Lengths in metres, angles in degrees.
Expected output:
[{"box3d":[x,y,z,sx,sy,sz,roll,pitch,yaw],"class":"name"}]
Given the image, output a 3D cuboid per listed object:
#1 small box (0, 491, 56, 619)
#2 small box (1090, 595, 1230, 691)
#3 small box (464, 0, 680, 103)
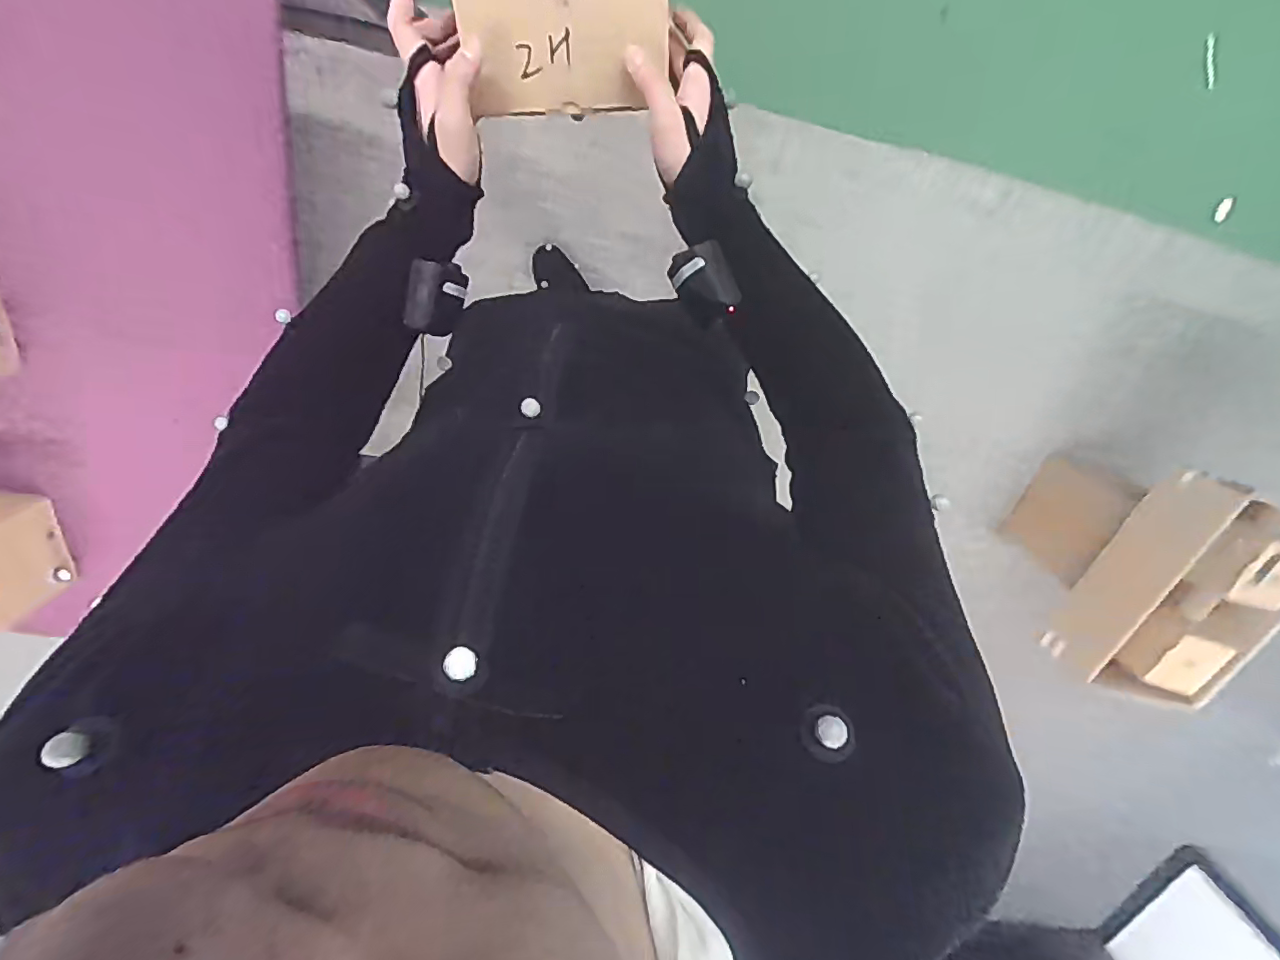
[{"box3d":[-1.040,0.118,0.802,0.179,0.176,0.168,6,115,-6],"class":"small box"},{"box3d":[1.403,0.438,1.471,0.179,0.176,0.168,17,114,-10],"class":"small box"},{"box3d":[-0.055,-0.430,0.453,0.168,0.176,0.179,-2,130,-2],"class":"small box"}]
